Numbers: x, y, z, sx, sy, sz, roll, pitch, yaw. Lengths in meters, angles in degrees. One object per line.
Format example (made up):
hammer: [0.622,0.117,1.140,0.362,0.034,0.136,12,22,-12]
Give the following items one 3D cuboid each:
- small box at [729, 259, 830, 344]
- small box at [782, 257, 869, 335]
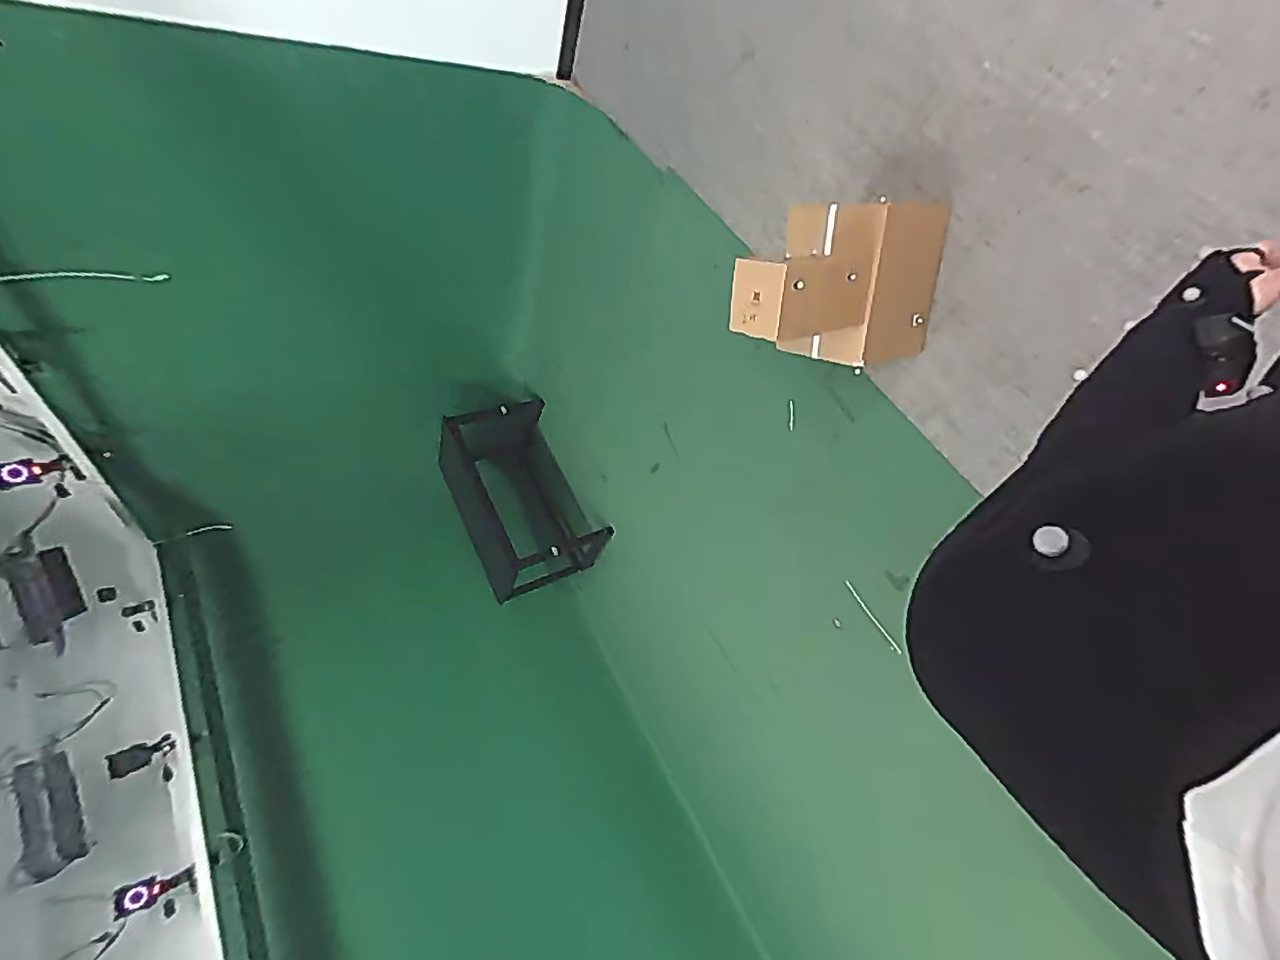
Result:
small box: [0.344,-0.448,1.339,0.168,0.176,0.179,34,132,47]
small box: [0.477,-0.491,1.426,0.168,0.176,0.179,31,130,47]
